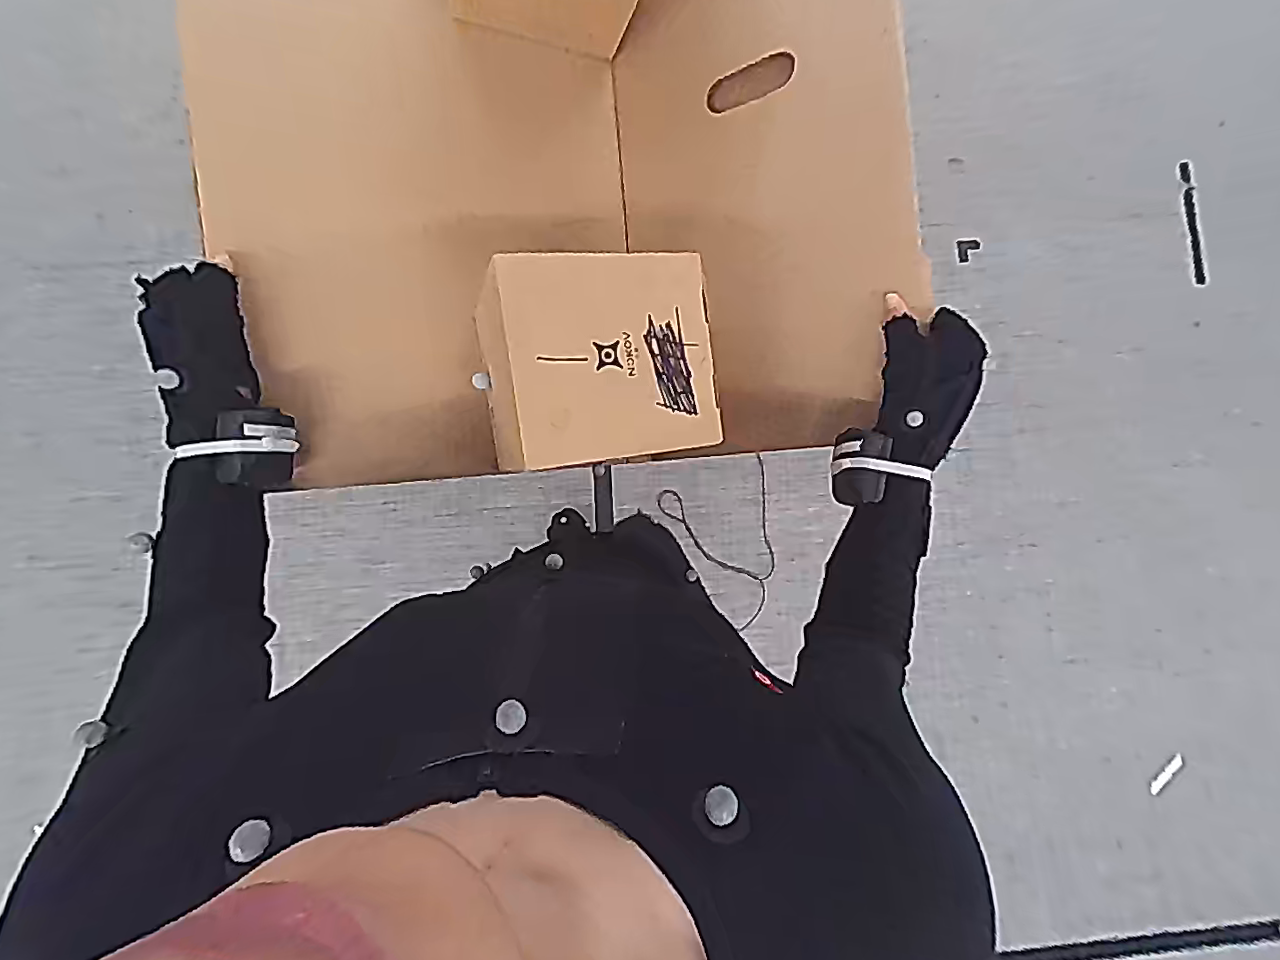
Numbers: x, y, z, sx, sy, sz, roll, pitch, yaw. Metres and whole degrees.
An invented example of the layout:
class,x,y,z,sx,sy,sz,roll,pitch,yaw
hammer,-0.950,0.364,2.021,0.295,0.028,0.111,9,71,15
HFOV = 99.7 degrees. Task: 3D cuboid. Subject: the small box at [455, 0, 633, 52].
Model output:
class,x,y,z,sx,sy,sz,roll,pitch,yaw
small box,-0.082,-0.549,0.500,0.179,0.176,0.168,-1,91,-22
